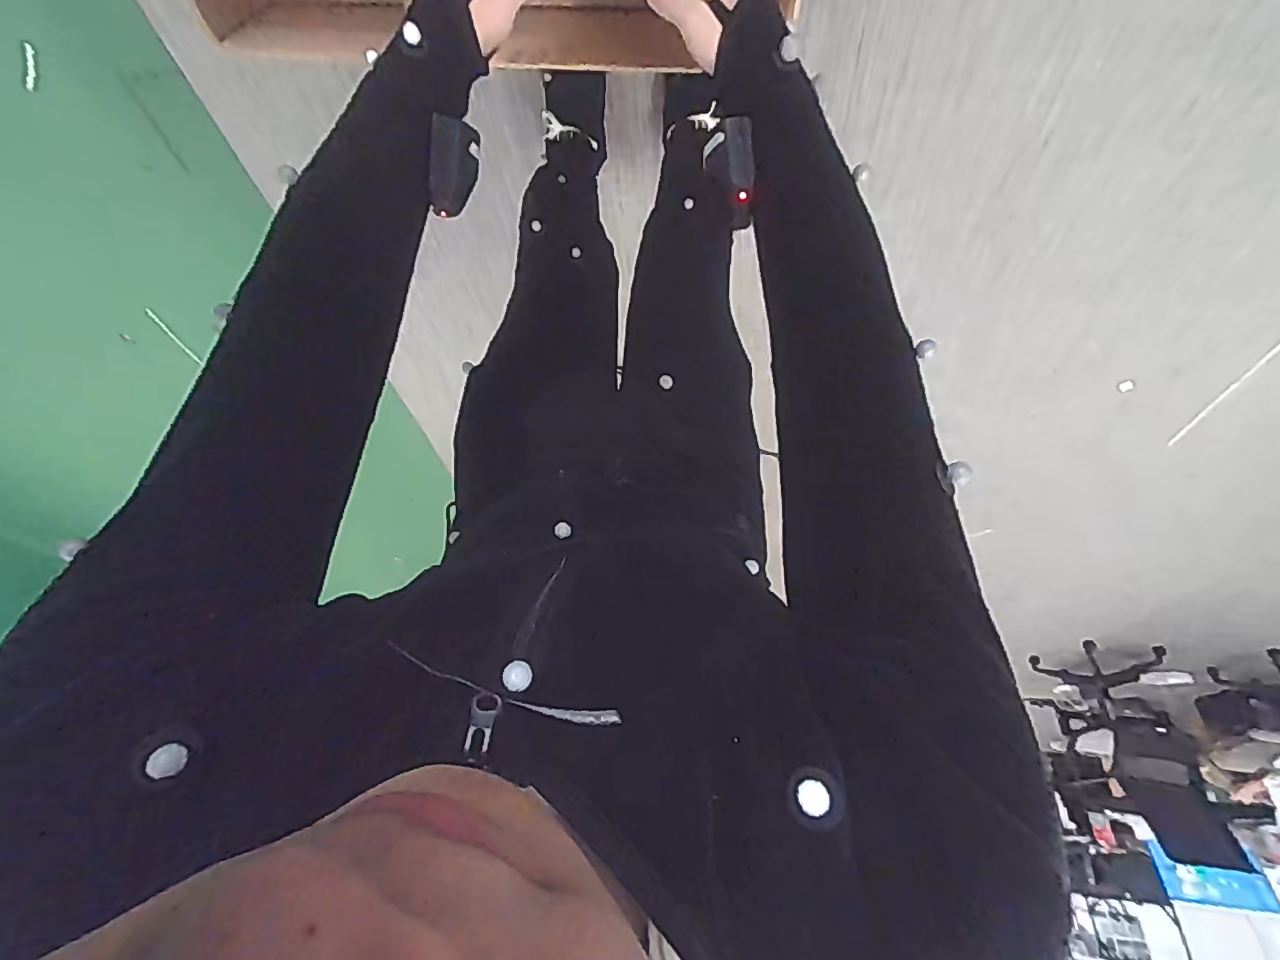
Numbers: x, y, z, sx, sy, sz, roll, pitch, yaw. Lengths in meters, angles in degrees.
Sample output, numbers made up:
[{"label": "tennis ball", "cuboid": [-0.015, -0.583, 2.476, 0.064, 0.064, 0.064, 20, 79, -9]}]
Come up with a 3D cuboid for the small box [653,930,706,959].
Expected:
[{"label": "small box", "cuboid": [0.133, 1.654, 1.828, 0.179, 0.176, 0.168, 3, 147, 9]}]
